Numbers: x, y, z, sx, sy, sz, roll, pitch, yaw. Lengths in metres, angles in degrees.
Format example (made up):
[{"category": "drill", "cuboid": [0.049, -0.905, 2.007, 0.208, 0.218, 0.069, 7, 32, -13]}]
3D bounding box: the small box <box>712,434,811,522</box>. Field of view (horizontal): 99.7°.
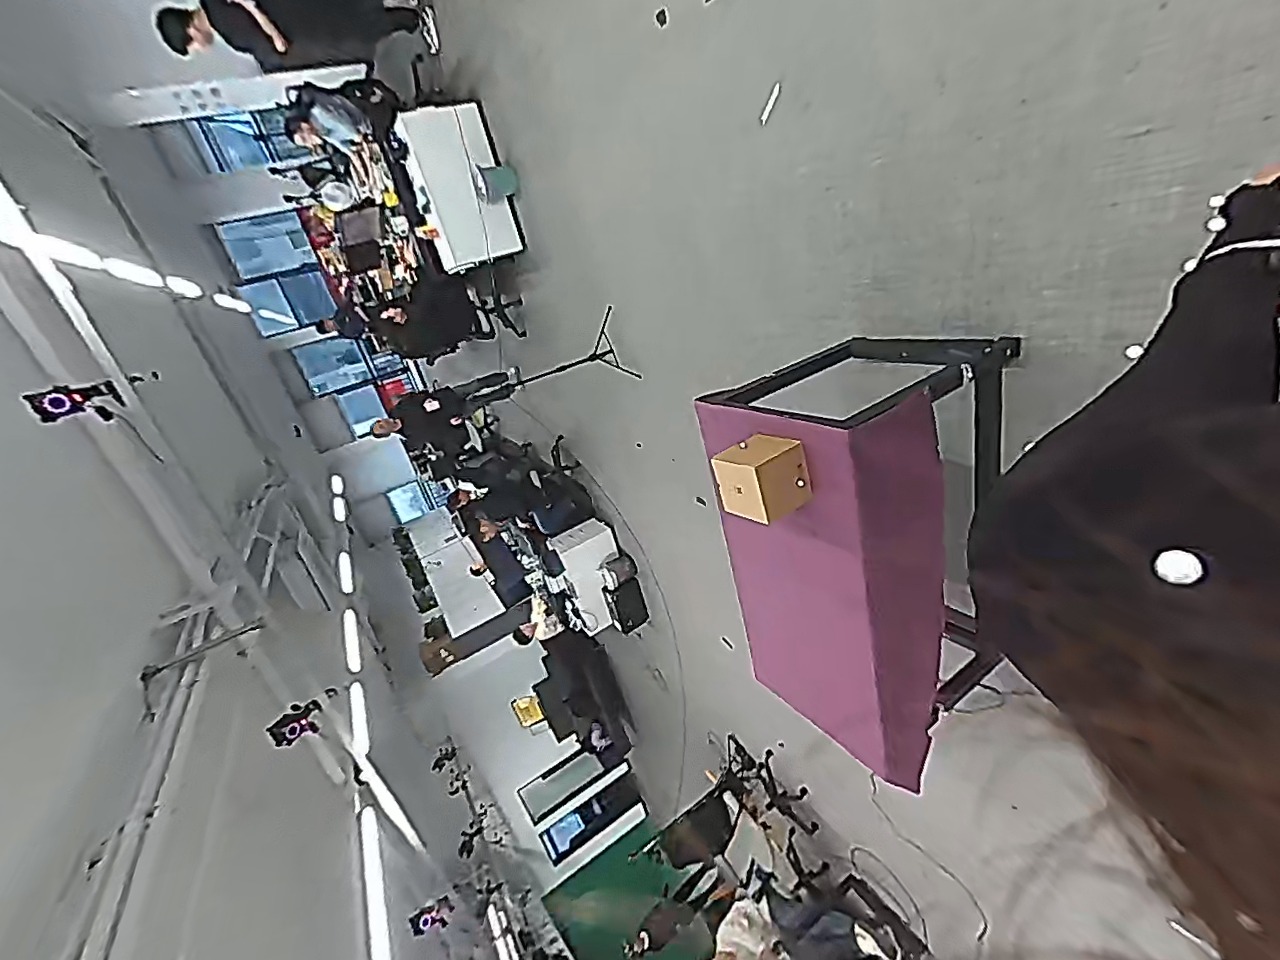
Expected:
[{"category": "small box", "cuboid": [0.324, -0.014, 1.440, 0.179, 0.176, 0.168, 21, 134, 59]}]
